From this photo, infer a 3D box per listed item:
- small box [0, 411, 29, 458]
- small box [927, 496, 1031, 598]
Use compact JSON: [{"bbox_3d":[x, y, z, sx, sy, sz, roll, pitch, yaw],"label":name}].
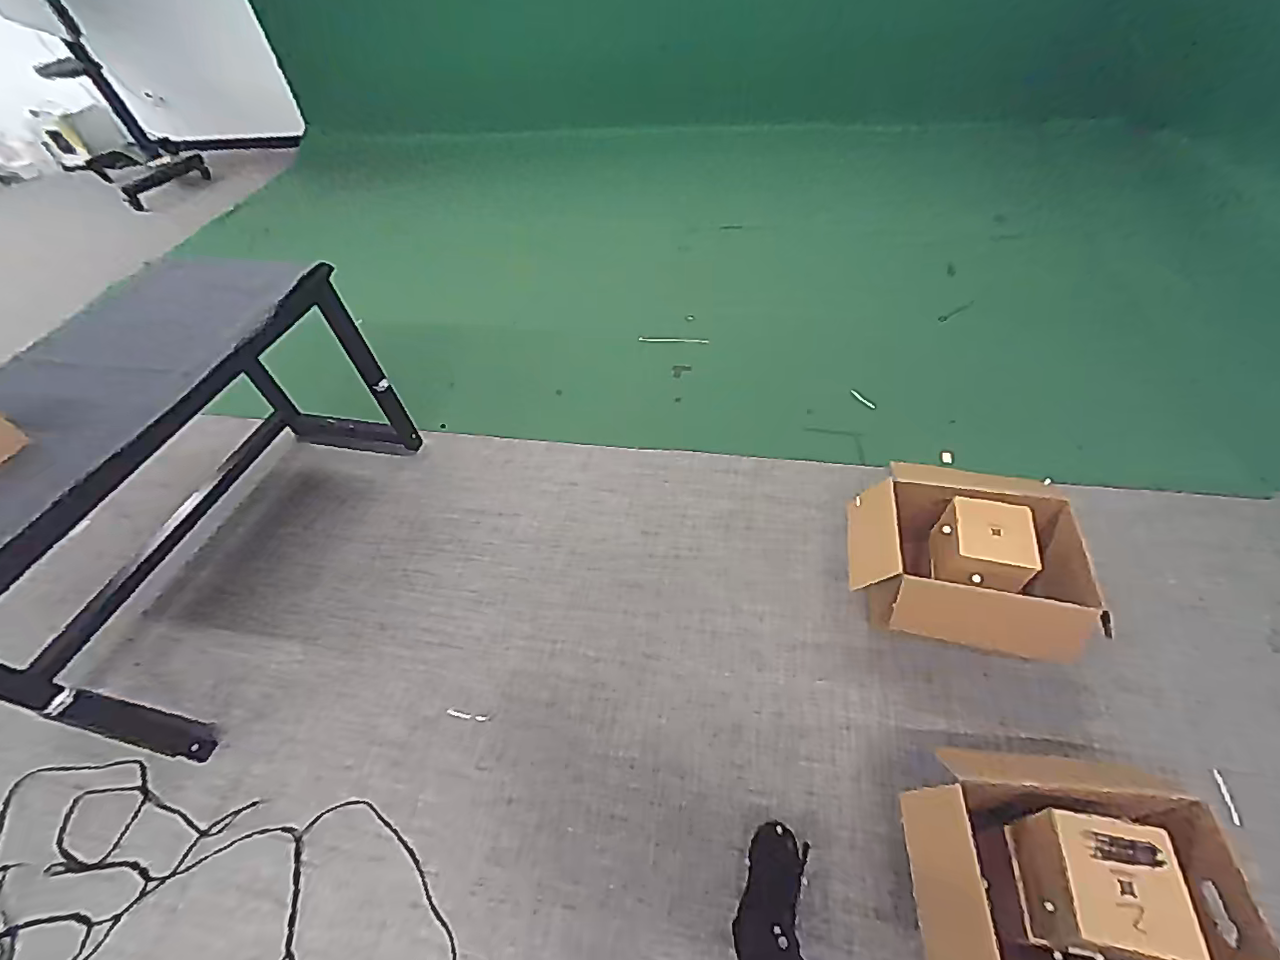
[{"bbox_3d":[-1.405,-0.099,1.066,0.168,0.176,0.179,10,51,14],"label":"small box"},{"bbox_3d":[0.825,0.169,1.333,0.168,0.176,0.179,10,53,13],"label":"small box"}]
